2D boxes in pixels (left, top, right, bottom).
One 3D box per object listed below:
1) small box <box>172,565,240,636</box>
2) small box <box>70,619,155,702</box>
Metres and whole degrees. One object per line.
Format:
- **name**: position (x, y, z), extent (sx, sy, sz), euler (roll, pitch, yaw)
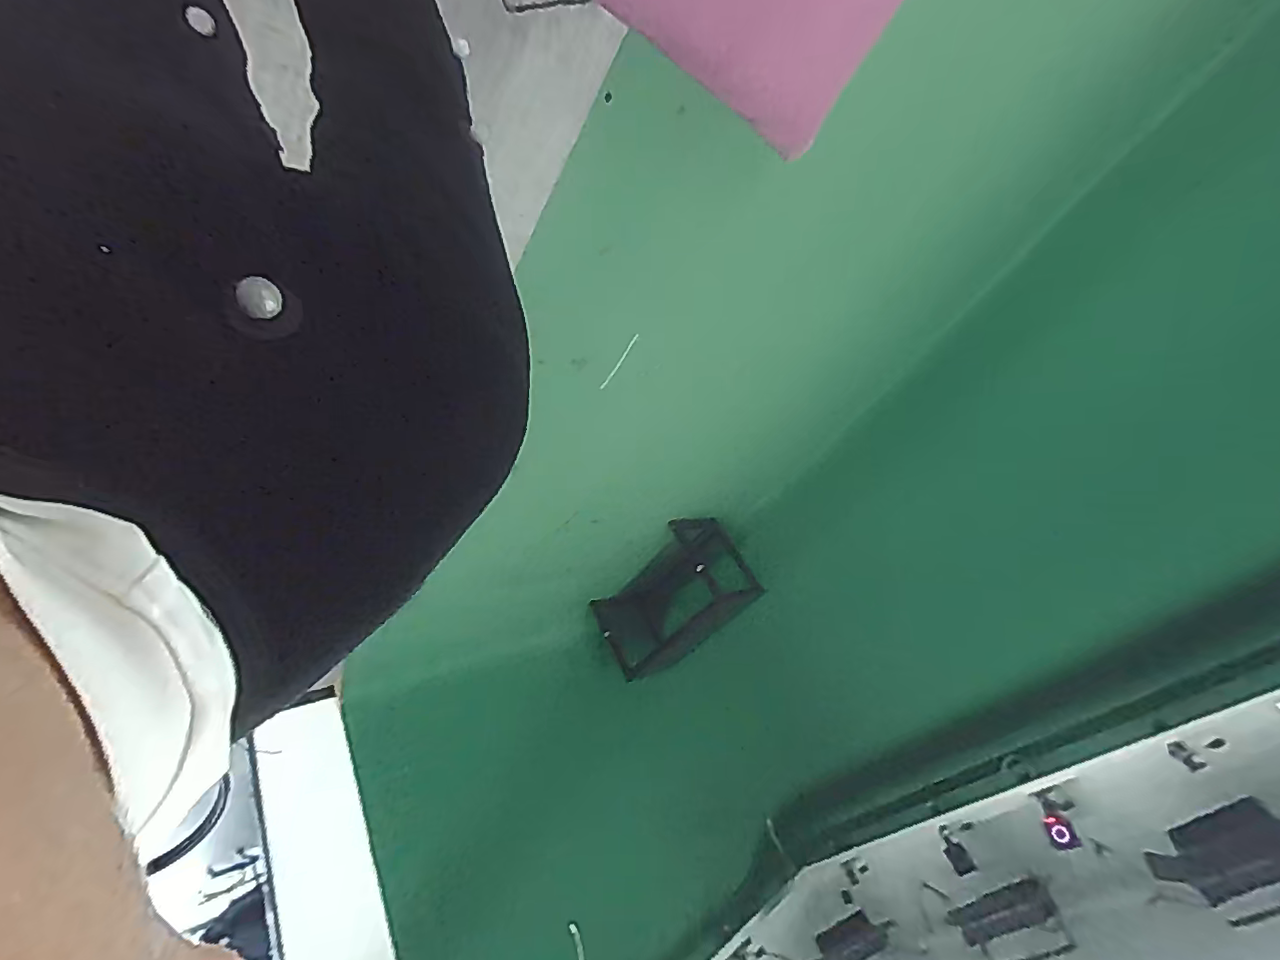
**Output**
- **small box**: position (-1.512, 0.415, 1.878), extent (0.168, 0.176, 0.179), euler (2, 138, -45)
- **small box**: position (-1.607, 0.538, 1.644), extent (0.168, 0.176, 0.179), euler (2, 137, -49)
